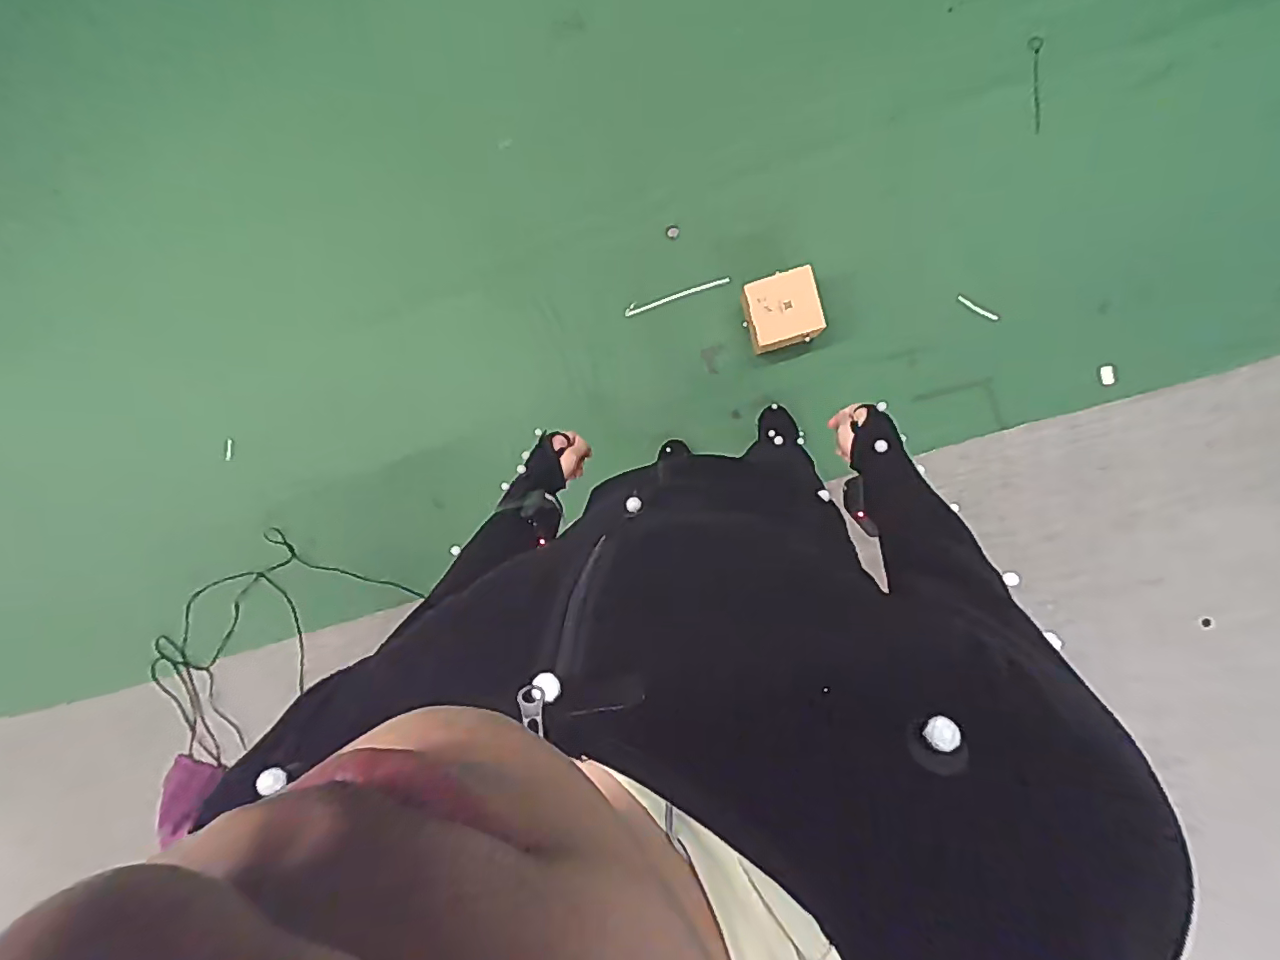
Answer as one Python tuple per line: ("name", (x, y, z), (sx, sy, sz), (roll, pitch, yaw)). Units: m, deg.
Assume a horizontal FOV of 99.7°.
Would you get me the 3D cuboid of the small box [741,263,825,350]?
("small box", (0.378, -0.460, 1.458), (0.179, 0.176, 0.168), (-15, 93, 9))
